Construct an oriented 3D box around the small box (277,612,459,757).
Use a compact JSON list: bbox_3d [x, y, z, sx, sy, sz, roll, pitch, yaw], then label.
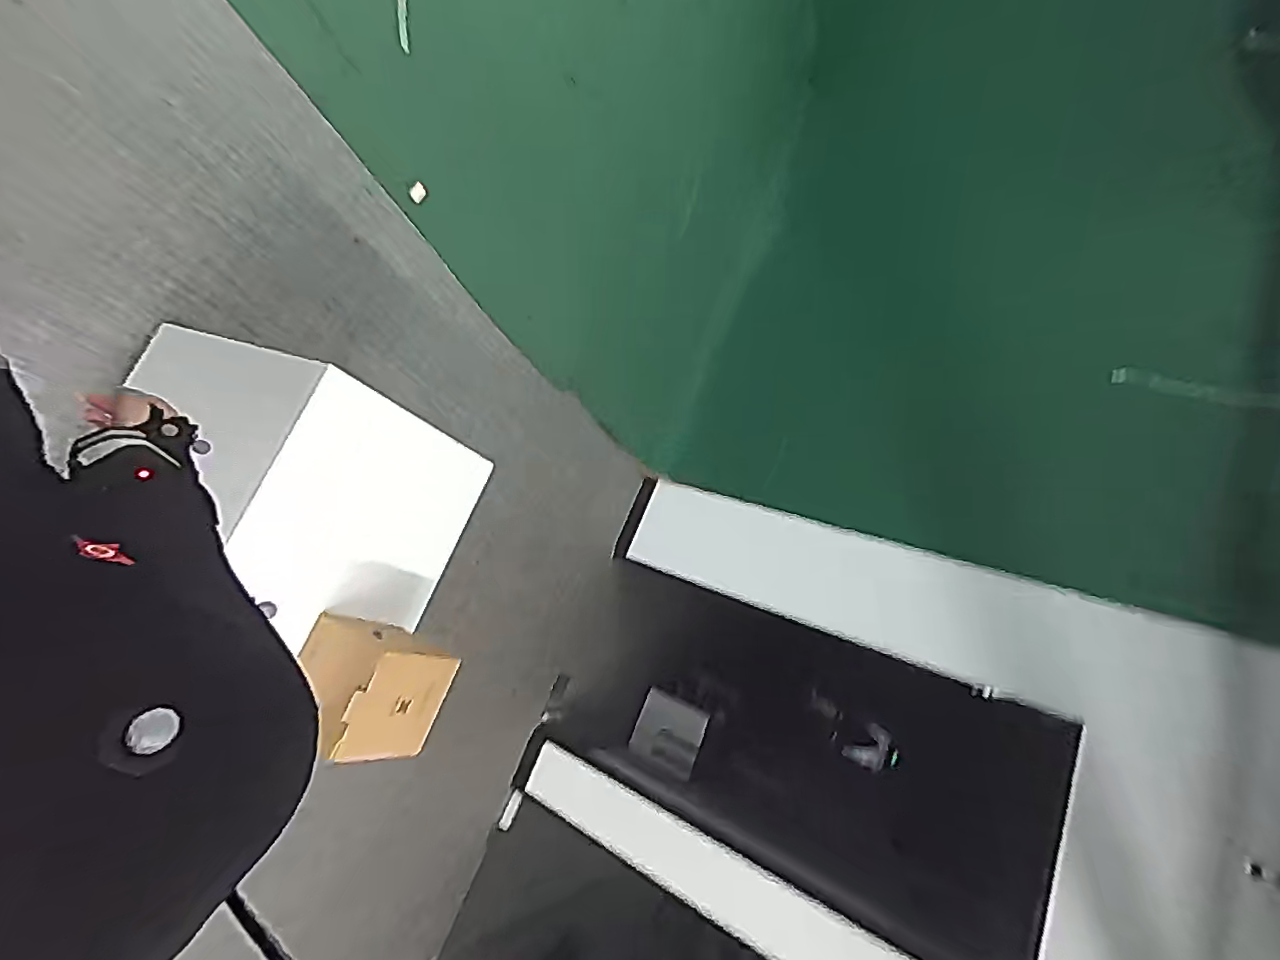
[{"bbox_3d":[-0.446,0.331,0.894,0.168,0.176,0.179,-67,152,-12],"label":"small box"}]
